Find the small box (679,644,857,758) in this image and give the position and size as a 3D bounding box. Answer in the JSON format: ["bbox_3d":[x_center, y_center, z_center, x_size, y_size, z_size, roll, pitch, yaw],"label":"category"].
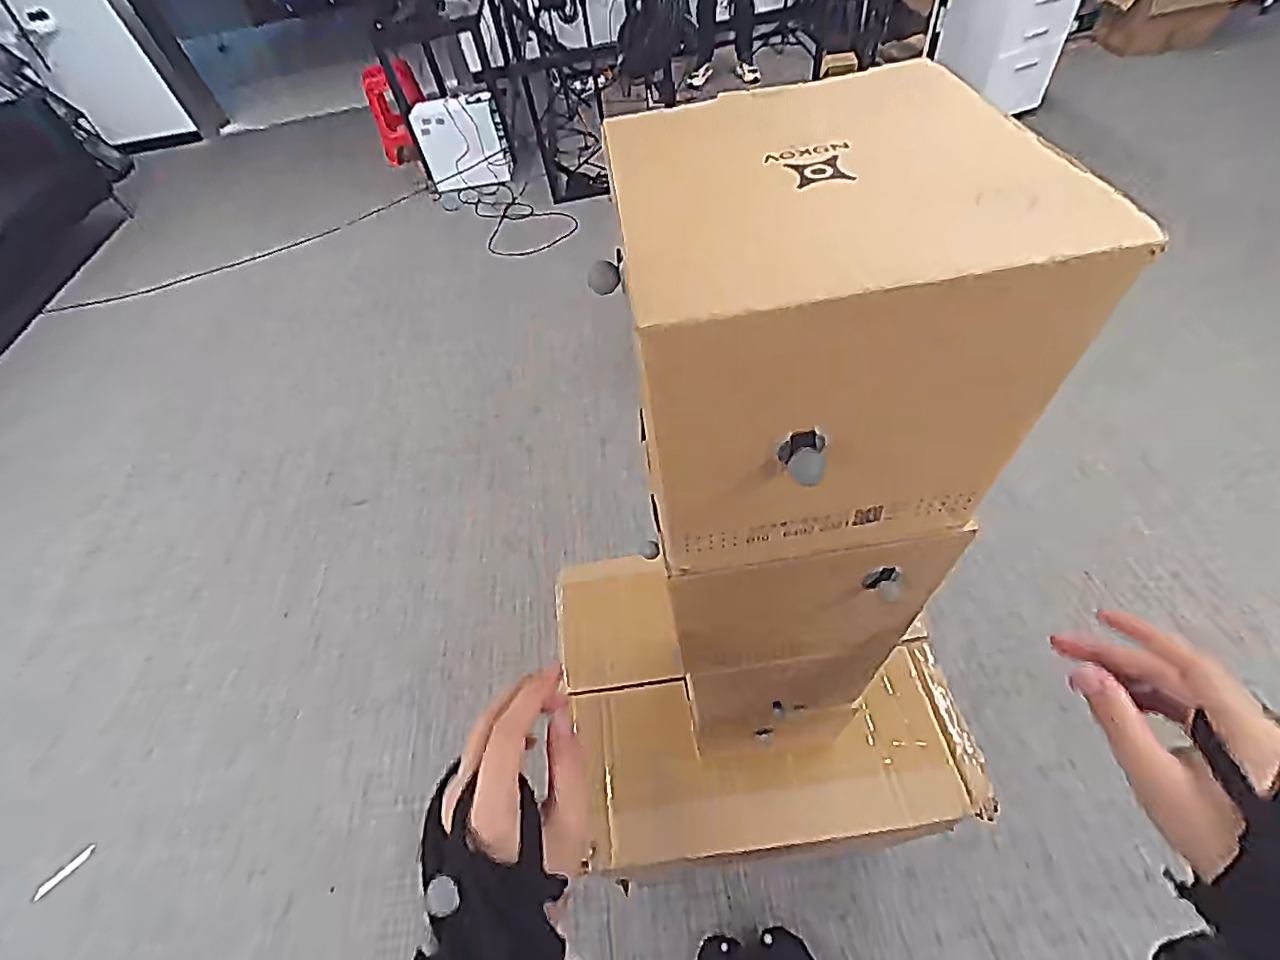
[{"bbox_3d":[0.140,0.228,0.663,0.179,0.176,0.168,-9,52,2],"label":"small box"}]

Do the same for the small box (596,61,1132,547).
[{"bbox_3d":[0.077,-0.079,0.284,0.168,0.176,0.179,-10,52,2],"label":"small box"}]

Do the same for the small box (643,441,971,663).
[{"bbox_3d":[0.099,0.023,0.409,0.179,0.176,0.168,-9,52,2],"label":"small box"}]
